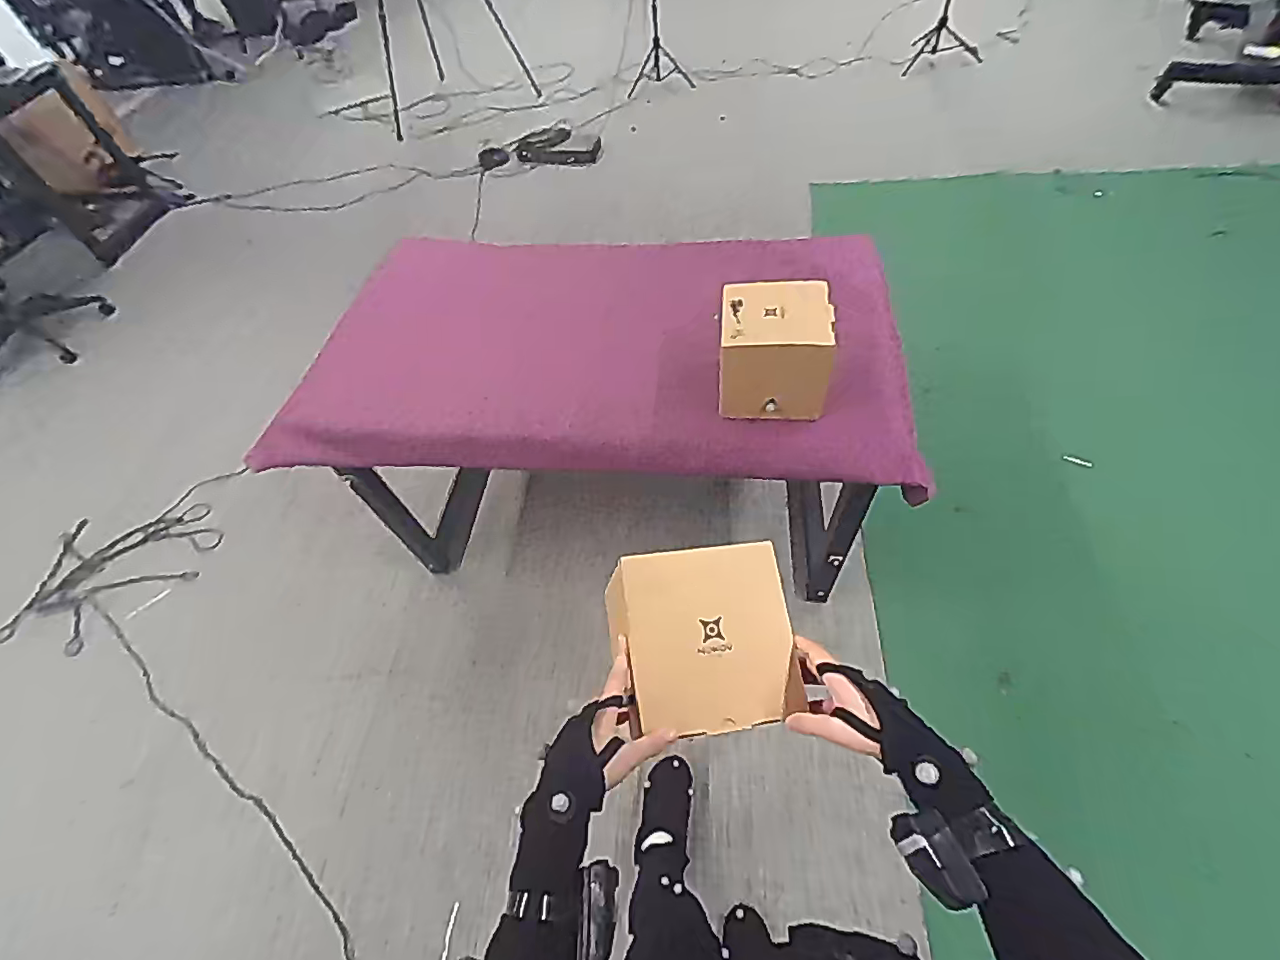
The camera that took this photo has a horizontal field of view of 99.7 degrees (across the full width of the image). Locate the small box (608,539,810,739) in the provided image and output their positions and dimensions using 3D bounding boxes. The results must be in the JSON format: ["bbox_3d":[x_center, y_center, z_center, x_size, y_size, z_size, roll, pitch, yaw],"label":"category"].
[{"bbox_3d":[0.059,0.177,0.599,0.168,0.176,0.179,-5,69,-10],"label":"small box"}]

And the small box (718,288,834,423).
[{"bbox_3d":[0.229,-0.213,0.945,0.179,0.176,0.168,2,52,9],"label":"small box"}]
